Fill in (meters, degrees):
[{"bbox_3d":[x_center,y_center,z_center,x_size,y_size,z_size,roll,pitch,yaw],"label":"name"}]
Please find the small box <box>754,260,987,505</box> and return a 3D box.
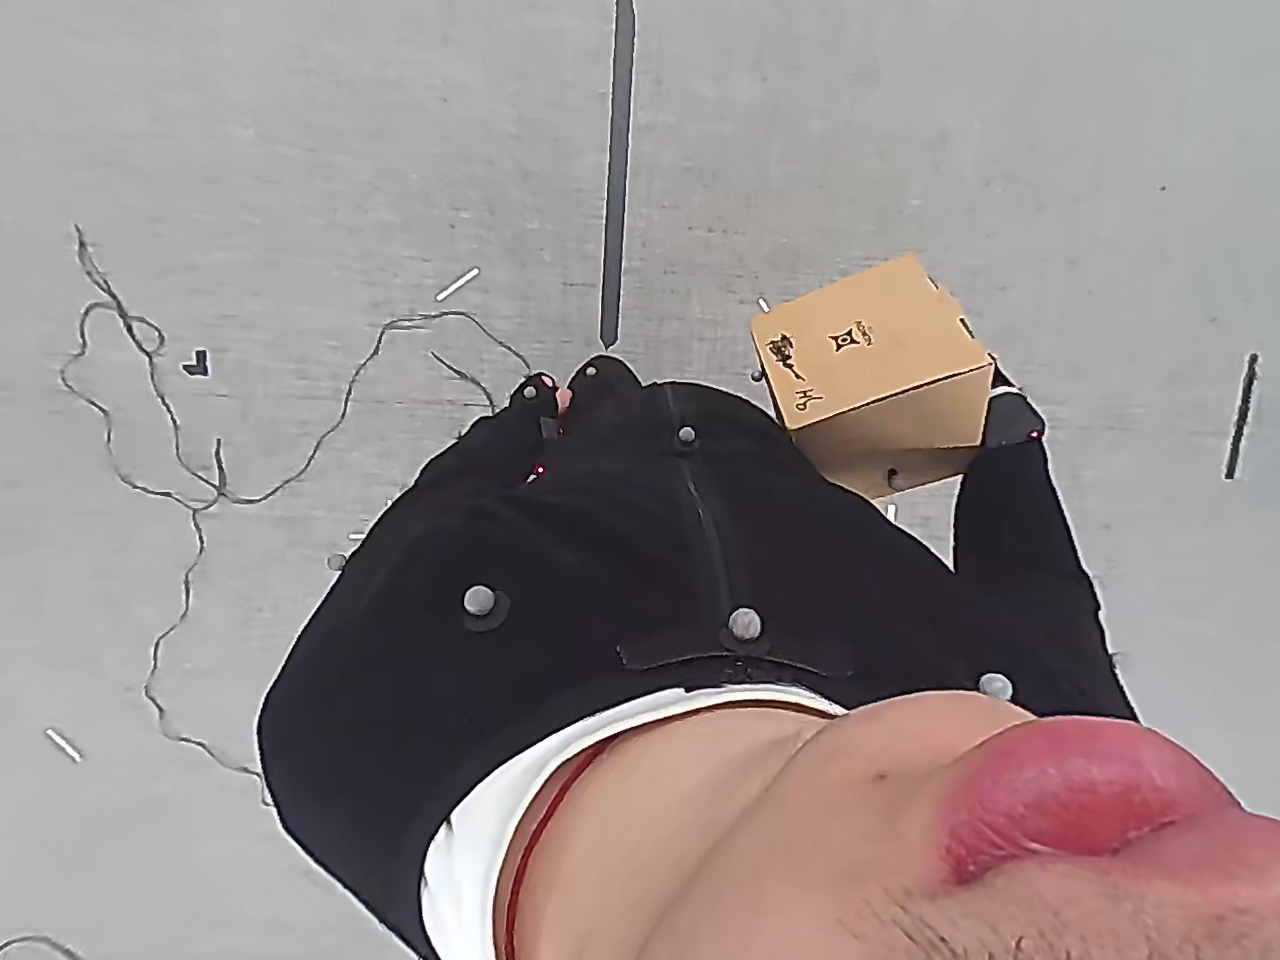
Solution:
[{"bbox_3d":[0.242,-0.098,0.596,0.179,0.168,0.176,-18,141,13],"label":"small box"}]
